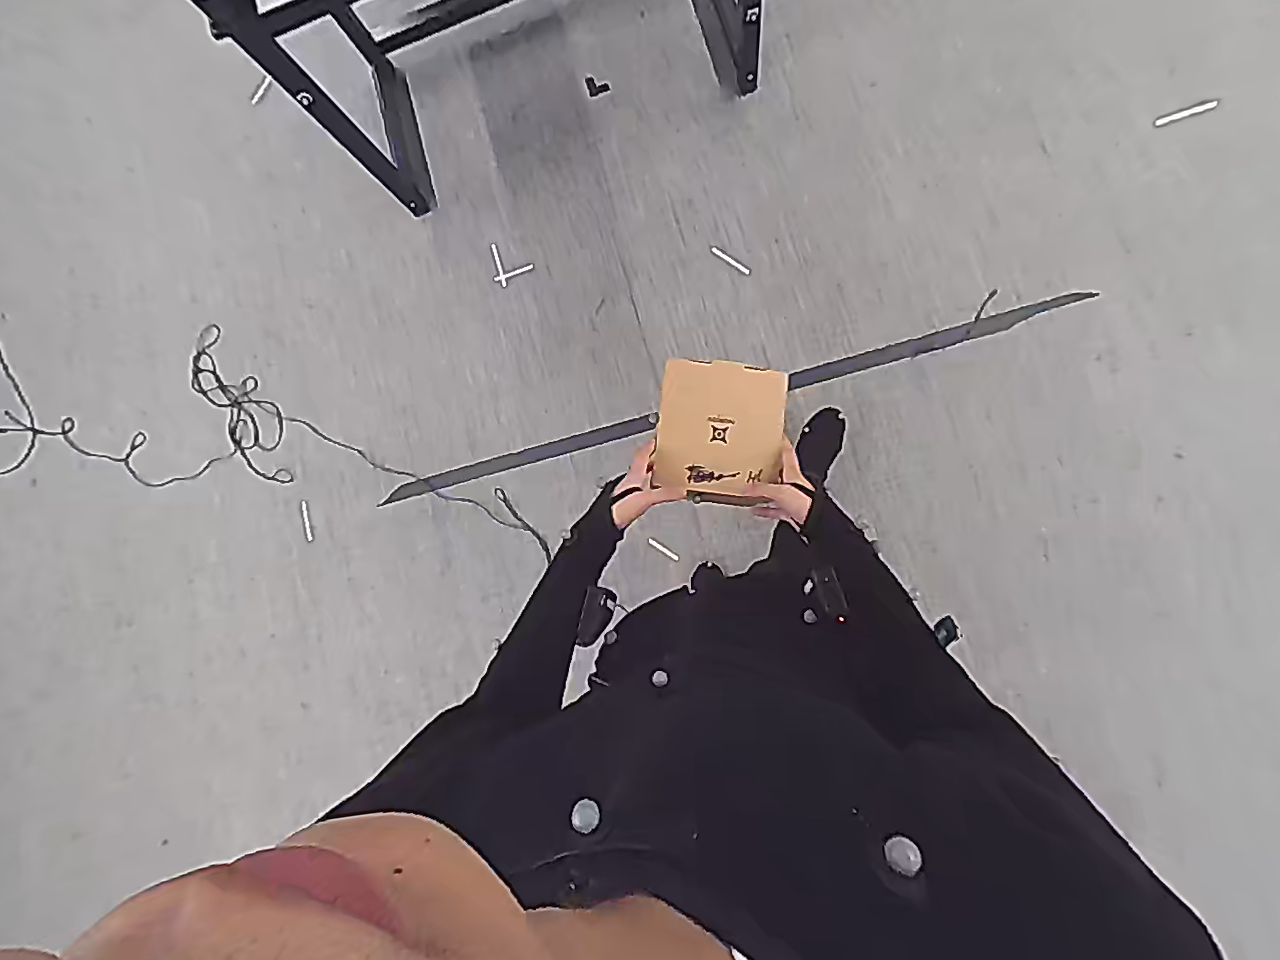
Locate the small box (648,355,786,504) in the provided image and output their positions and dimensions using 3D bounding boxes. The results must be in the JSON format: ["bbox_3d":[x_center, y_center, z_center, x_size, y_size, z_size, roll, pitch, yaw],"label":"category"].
[{"bbox_3d":[0.102,-0.064,0.789,0.168,0.176,0.179,7,84,0],"label":"small box"}]
